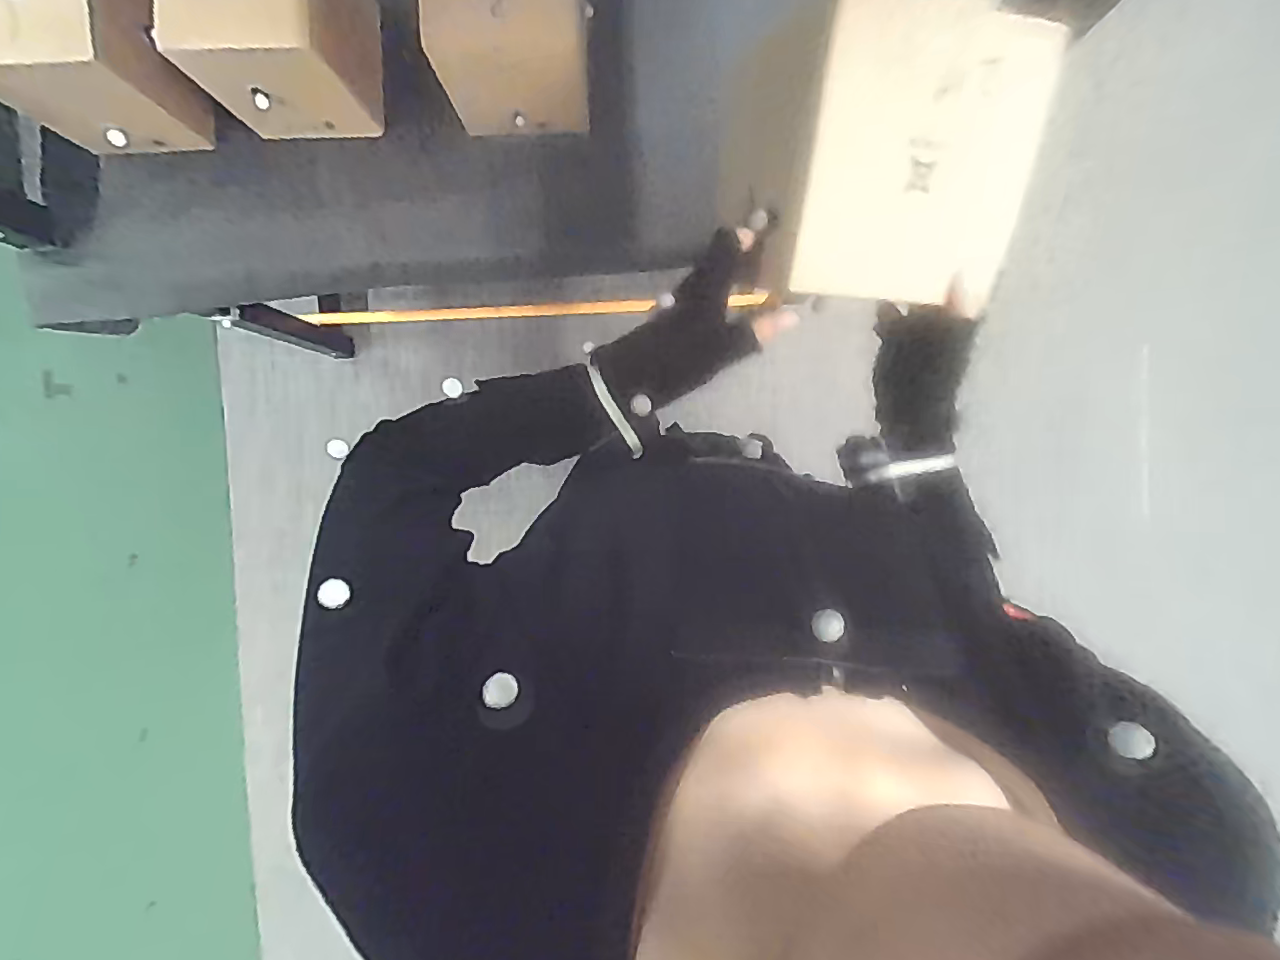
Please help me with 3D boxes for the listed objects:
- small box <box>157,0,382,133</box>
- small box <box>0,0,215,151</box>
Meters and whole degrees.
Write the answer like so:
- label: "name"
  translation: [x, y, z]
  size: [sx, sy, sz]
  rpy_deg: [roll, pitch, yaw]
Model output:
- label: "small box"
  translation: [-0.429, -0.549, 0.651]
  size: [0.168, 0.176, 0.179]
  rpy_deg: [-1, 92, 0]
- label: "small box"
  translation: [-0.656, -0.531, 0.648]
  size: [0.168, 0.176, 0.179]
  rpy_deg: [-3, 93, 0]
